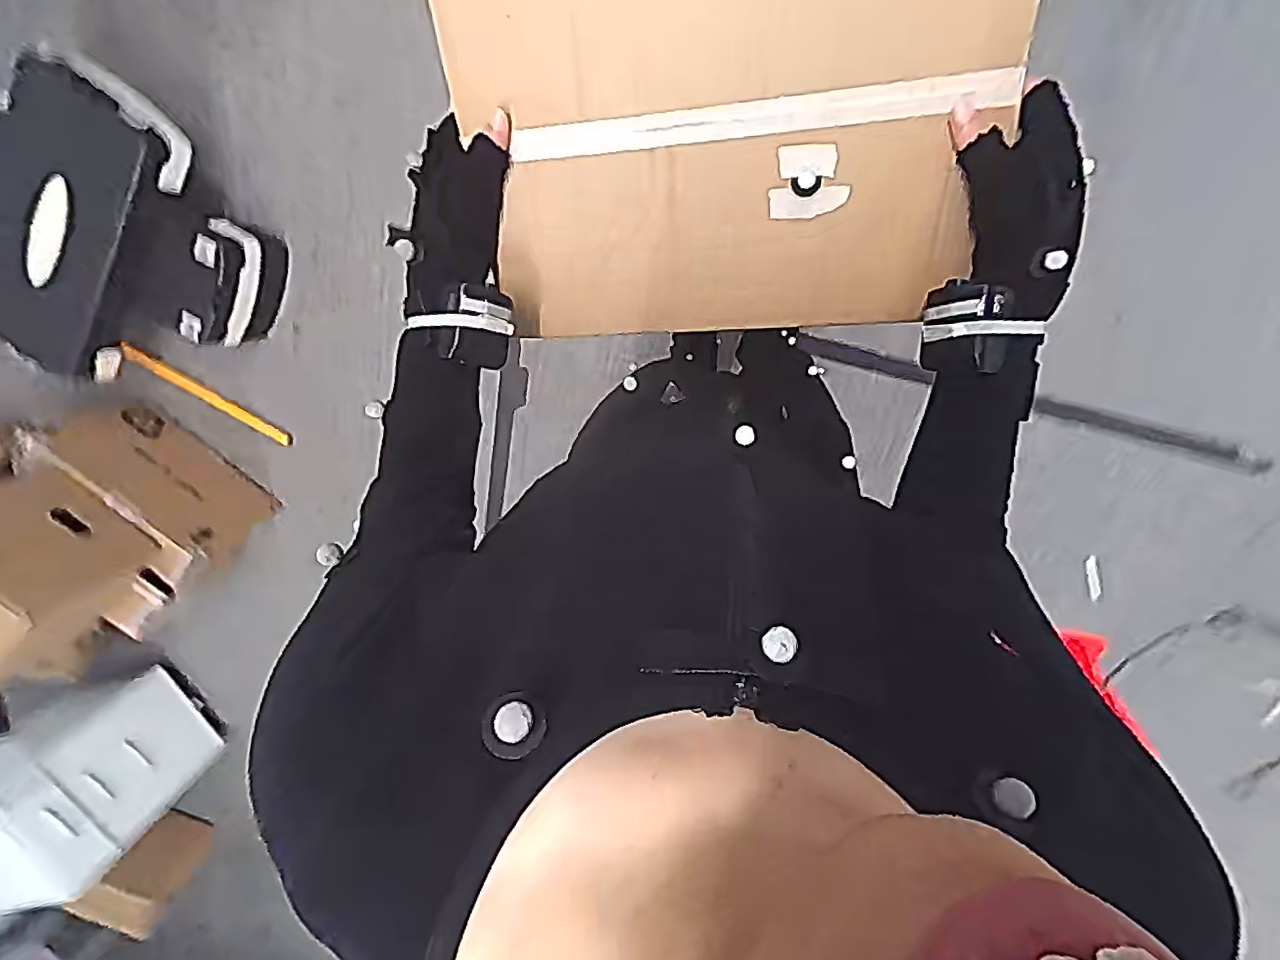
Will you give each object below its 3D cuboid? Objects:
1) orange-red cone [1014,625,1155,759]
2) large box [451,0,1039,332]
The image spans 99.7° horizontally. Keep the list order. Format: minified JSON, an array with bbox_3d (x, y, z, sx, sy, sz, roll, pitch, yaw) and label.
[{"bbox_3d":[1.243,0.592,1.467,0.199,0.360,0.198,11,114,0],"label":"orange-red cone"},{"bbox_3d":[0.085,-0.348,0.530,0.408,0.320,0.320,1,123,10],"label":"large box"}]
